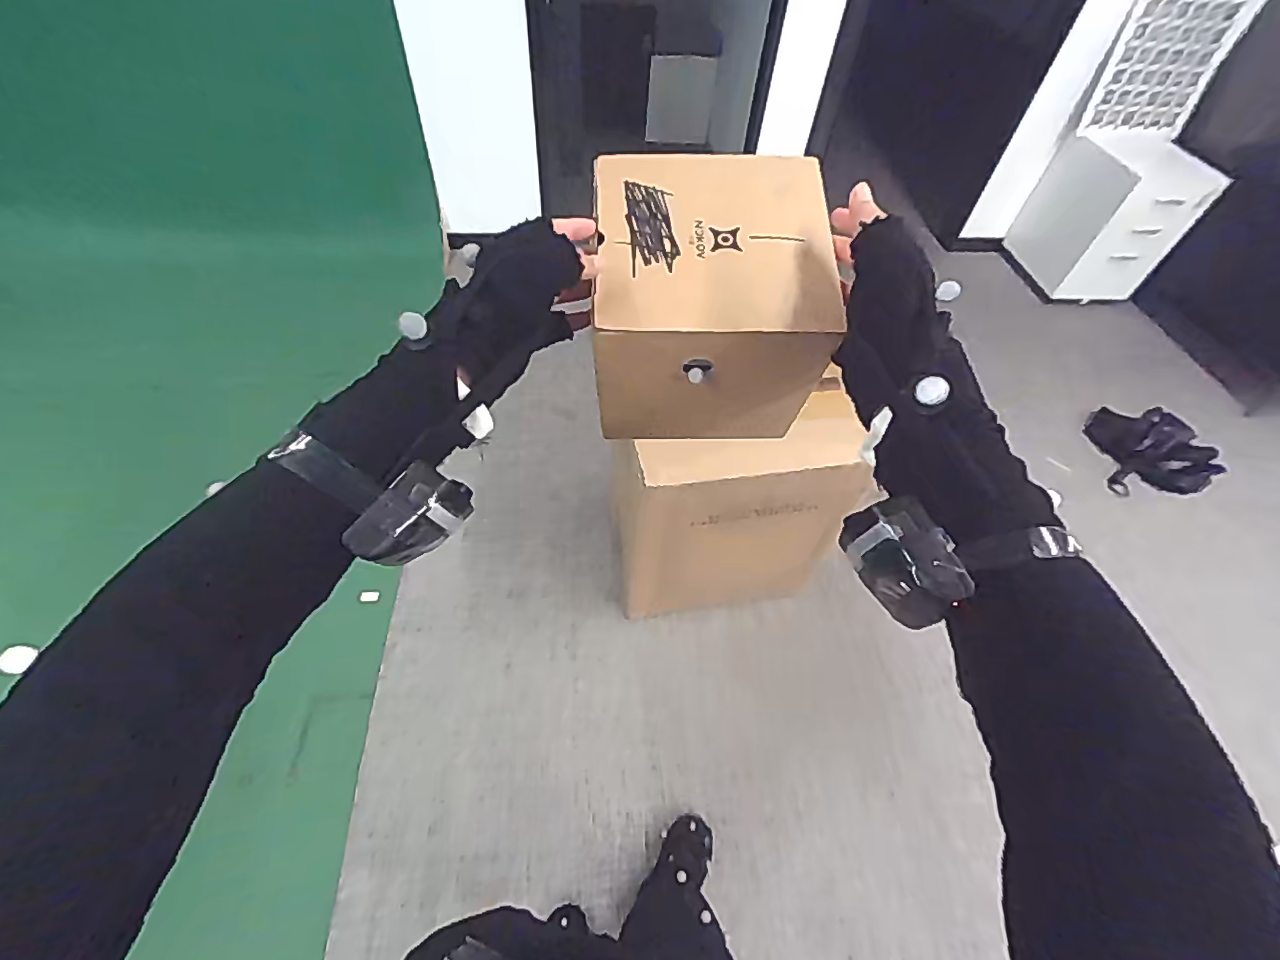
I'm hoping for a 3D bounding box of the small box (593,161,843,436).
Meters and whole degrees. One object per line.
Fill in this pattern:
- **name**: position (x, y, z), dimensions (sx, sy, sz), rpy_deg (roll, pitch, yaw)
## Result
- **small box**: position (0.053, -0.146, 0.475), dimensions (0.179, 0.176, 0.168), rpy_deg (0, 69, -2)
